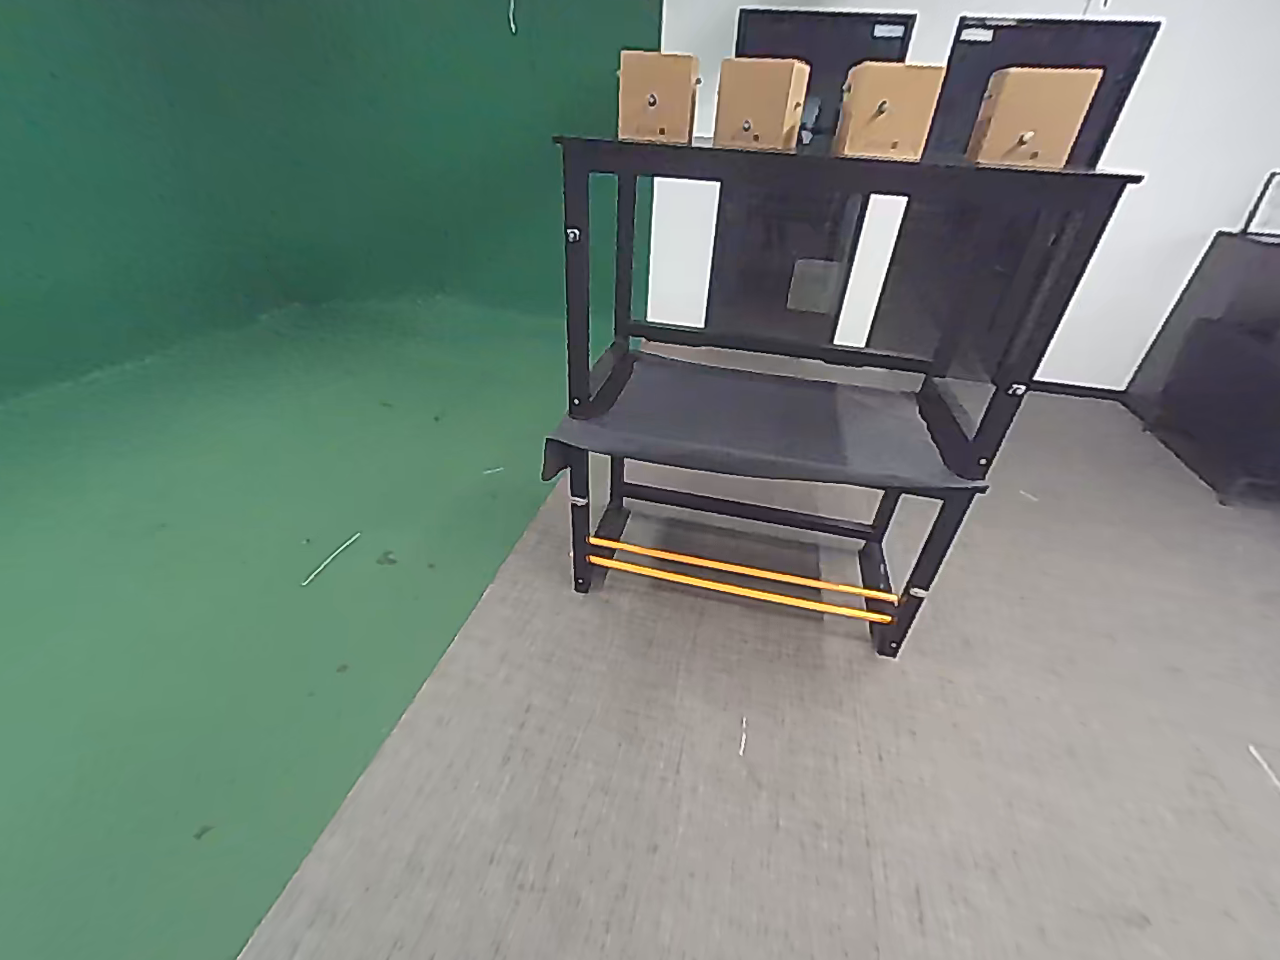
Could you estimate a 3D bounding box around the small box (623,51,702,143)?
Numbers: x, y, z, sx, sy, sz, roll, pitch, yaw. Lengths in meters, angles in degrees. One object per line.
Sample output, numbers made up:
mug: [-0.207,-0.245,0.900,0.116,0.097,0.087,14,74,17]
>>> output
small box: [0.053,-0.915,1.299,0.168,0.176,0.179,8,34,6]

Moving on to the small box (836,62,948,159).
small box: [0.551,-0.822,1.209,0.168,0.176,0.179,7,34,5]

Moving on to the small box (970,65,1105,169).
small box: [0.838,-0.779,1.165,0.168,0.176,0.179,12,36,14]
